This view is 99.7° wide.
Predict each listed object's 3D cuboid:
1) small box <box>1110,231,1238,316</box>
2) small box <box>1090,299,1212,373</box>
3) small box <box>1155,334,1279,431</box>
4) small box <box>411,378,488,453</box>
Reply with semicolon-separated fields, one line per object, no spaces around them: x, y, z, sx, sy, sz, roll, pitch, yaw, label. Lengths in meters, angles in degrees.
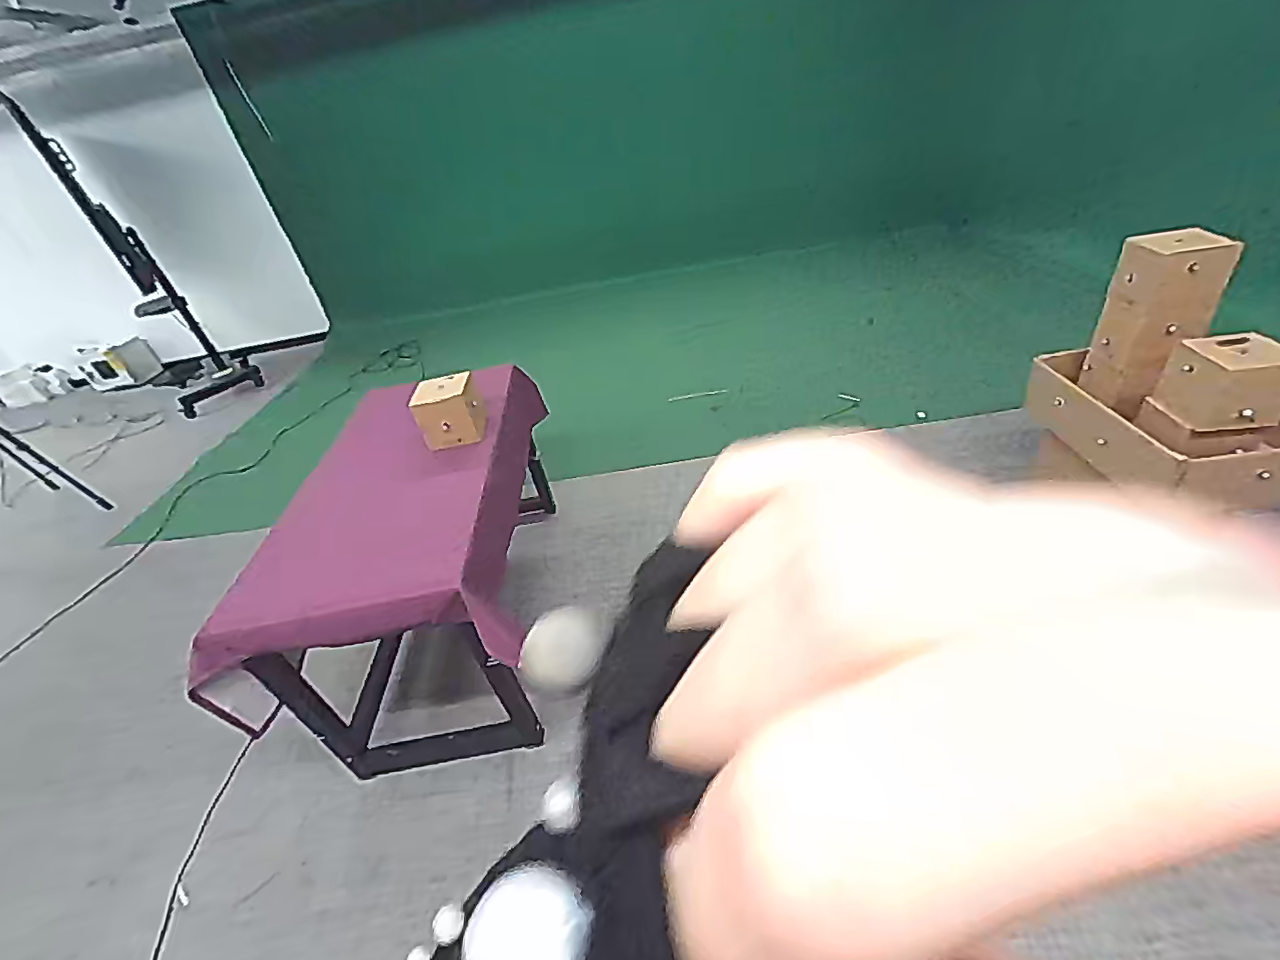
1.434;-0.558;1.473;0.179;0.176;0.168;-5;37;10;small box
1.465;-0.425;1.565;0.179;0.176;0.168;-5;36;10;small box
1.423;-0.235;1.316;0.168;0.176;0.179;-5;36;11;small box
-0.598;-0.200;1.721;0.168;0.176;0.179;-12;36;1;small box
